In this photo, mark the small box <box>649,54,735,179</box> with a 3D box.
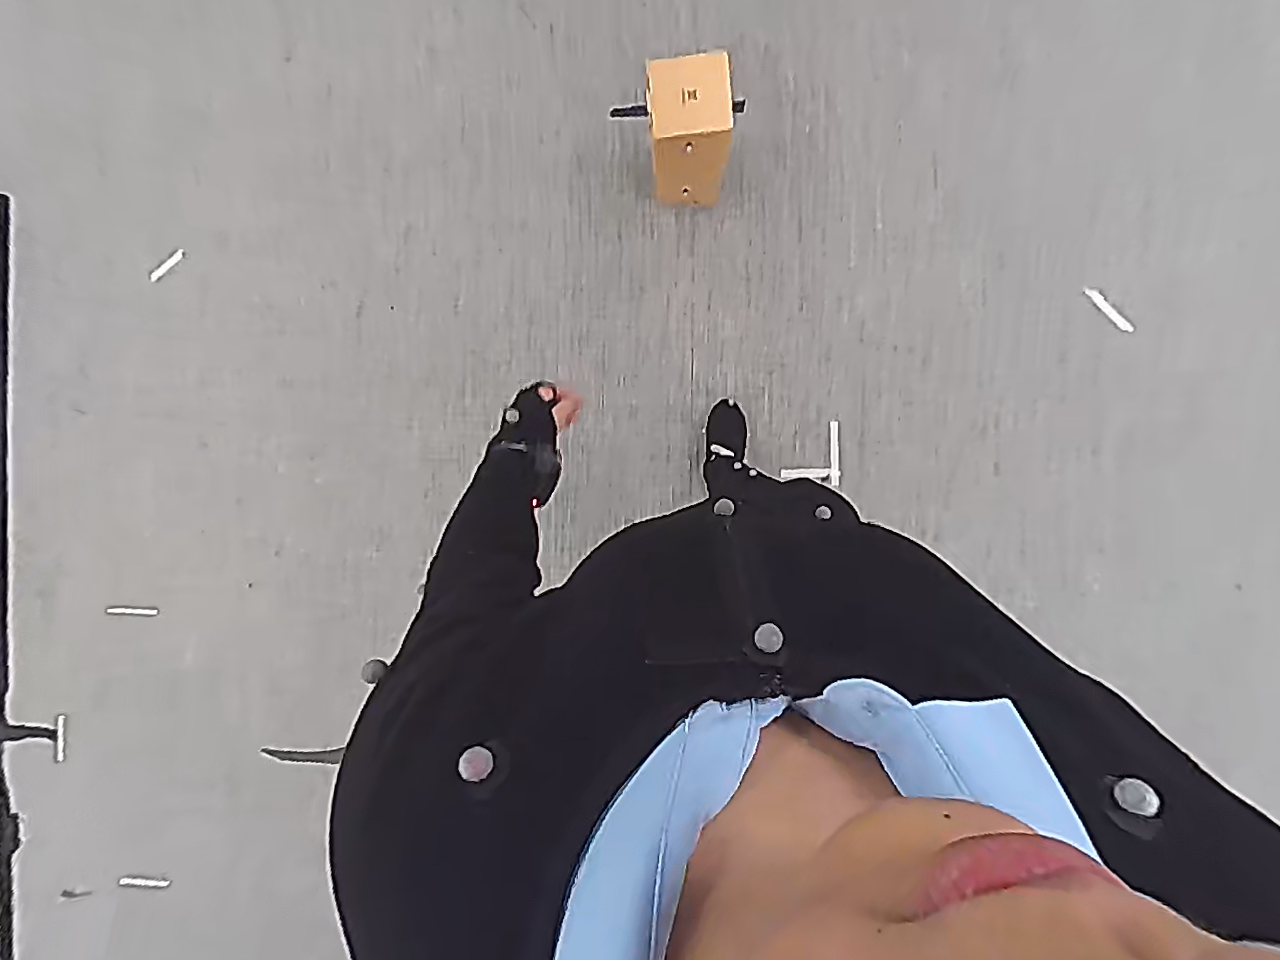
[{"bbox_3d":[0.115,-0.815,1.229,0.179,0.176,0.168,-5,91,5],"label":"small box"}]

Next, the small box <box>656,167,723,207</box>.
[{"bbox_3d":[0.132,-0.827,1.391,0.168,0.176,0.179,4,91,3],"label":"small box"}]
